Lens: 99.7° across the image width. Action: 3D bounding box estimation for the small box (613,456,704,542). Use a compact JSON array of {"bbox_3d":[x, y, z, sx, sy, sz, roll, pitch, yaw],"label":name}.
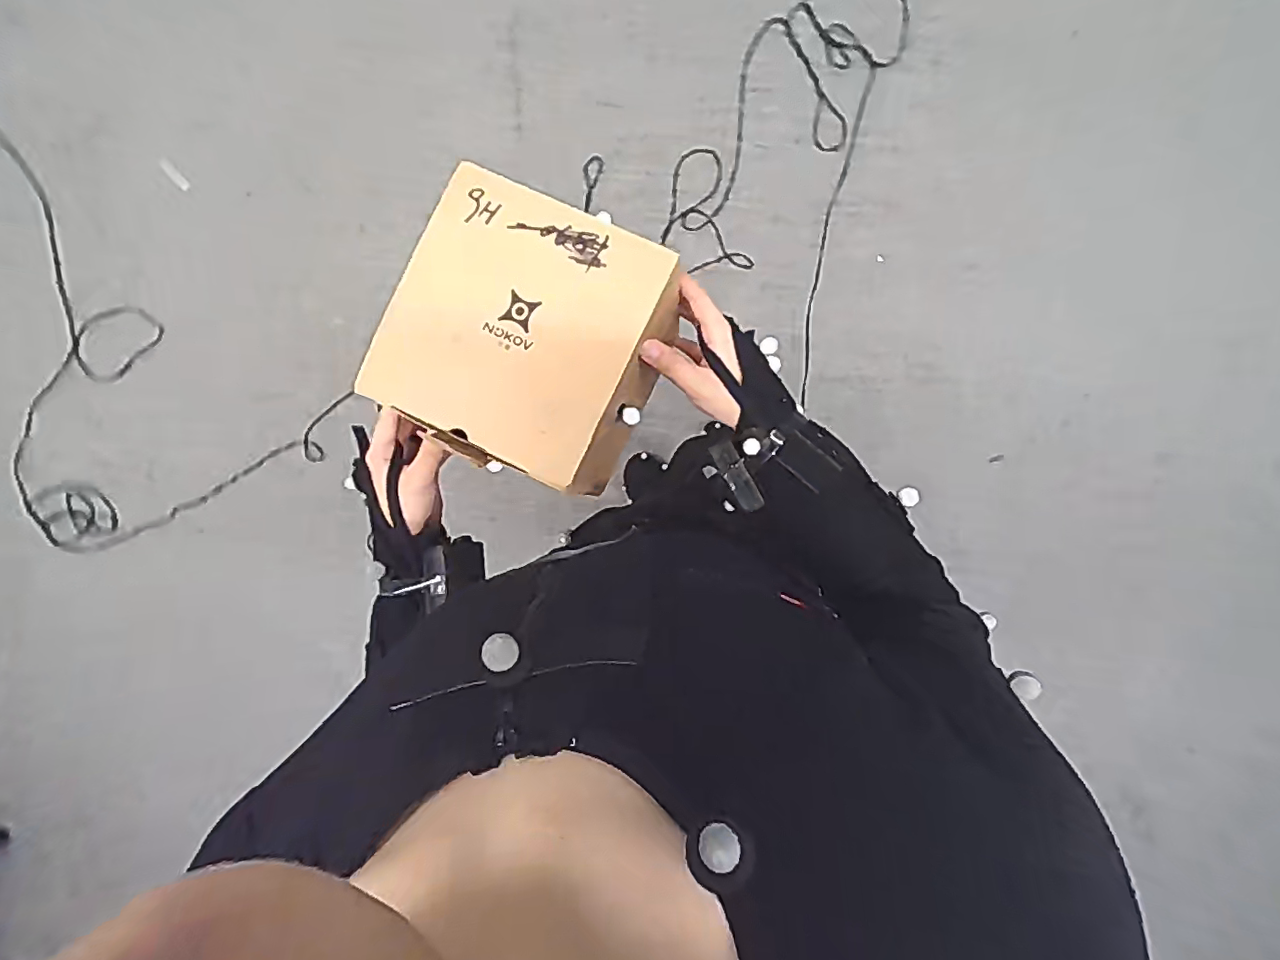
[{"bbox_3d":[0.045,0.045,1.320,0.179,0.176,0.168,18,94,13],"label":"small box"}]
